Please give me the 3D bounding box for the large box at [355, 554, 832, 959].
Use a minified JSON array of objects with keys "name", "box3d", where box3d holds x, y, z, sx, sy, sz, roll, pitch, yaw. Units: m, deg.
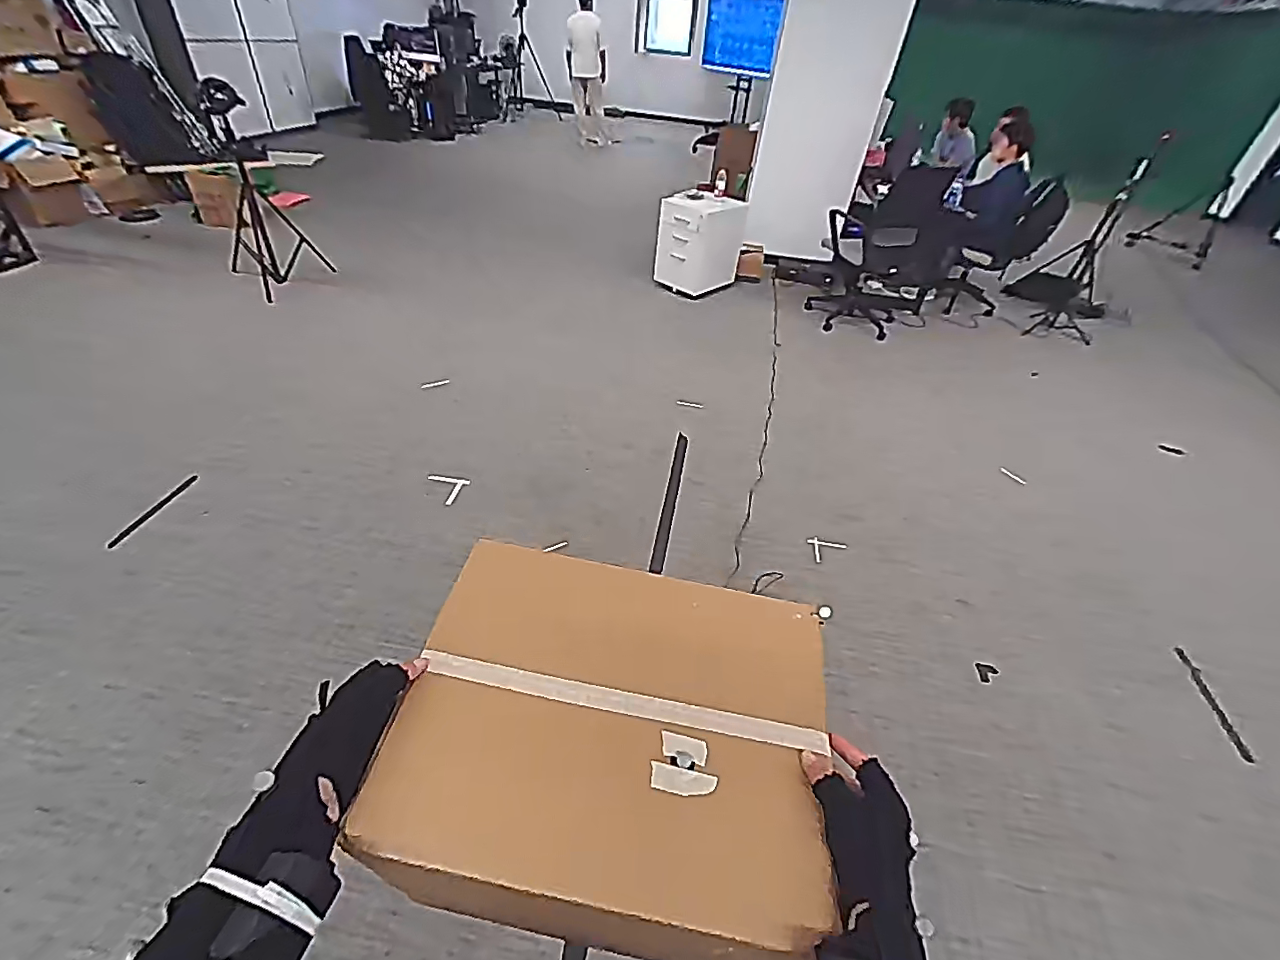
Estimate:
[{"name":"large box","box3d":[-0.035,0.332,0.643,0.408,0.320,0.320,11,46,3]}]
